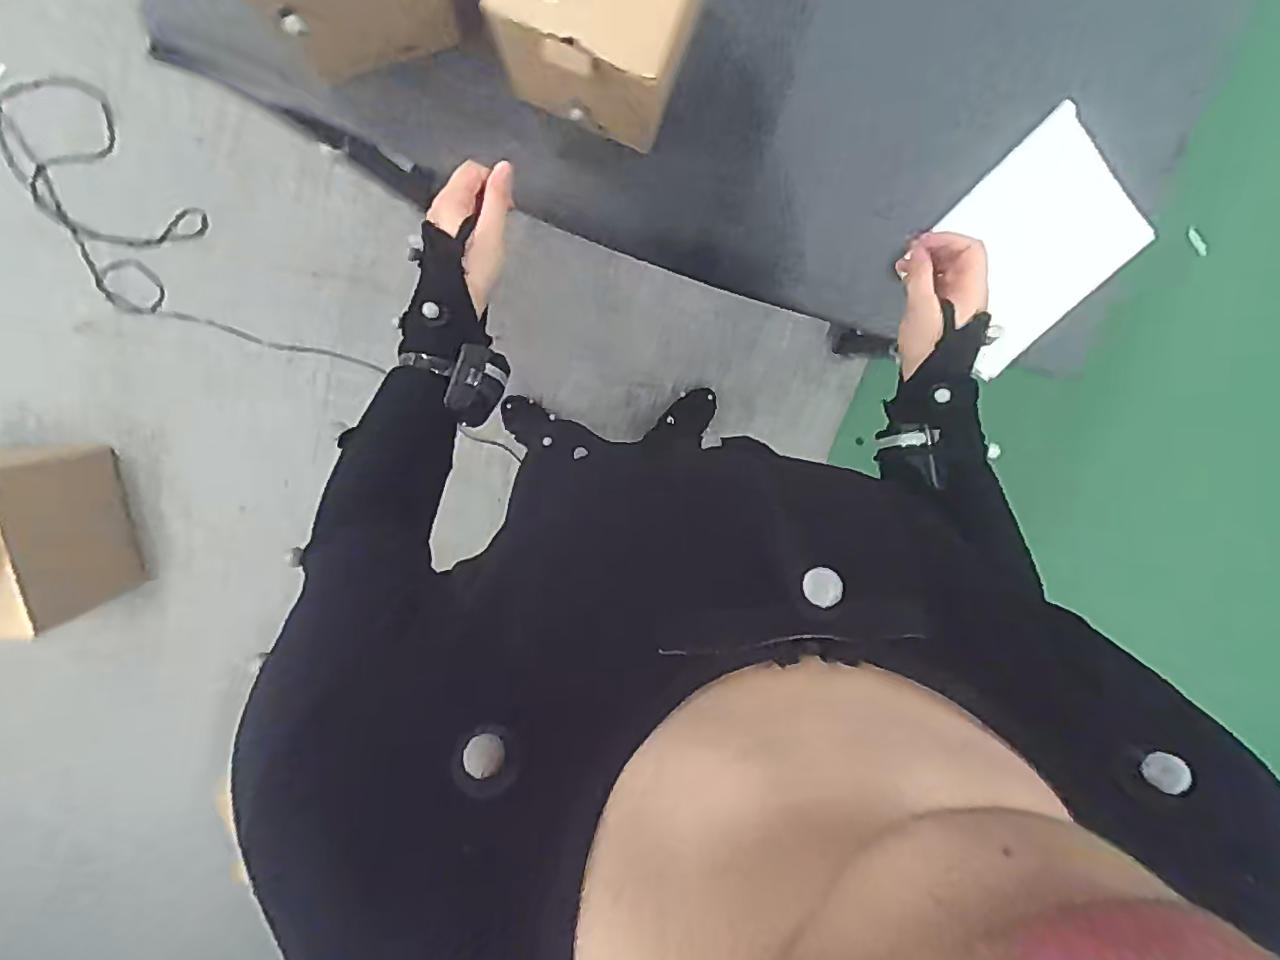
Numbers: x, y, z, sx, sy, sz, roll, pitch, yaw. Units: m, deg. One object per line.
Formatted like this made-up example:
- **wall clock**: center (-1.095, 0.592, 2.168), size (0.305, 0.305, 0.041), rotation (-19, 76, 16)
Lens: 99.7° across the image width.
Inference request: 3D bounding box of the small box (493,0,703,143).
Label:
- **small box**: center (-0.029, -0.488, 0.546), size (0.168, 0.176, 0.179), rotation (21, 102, -4)
